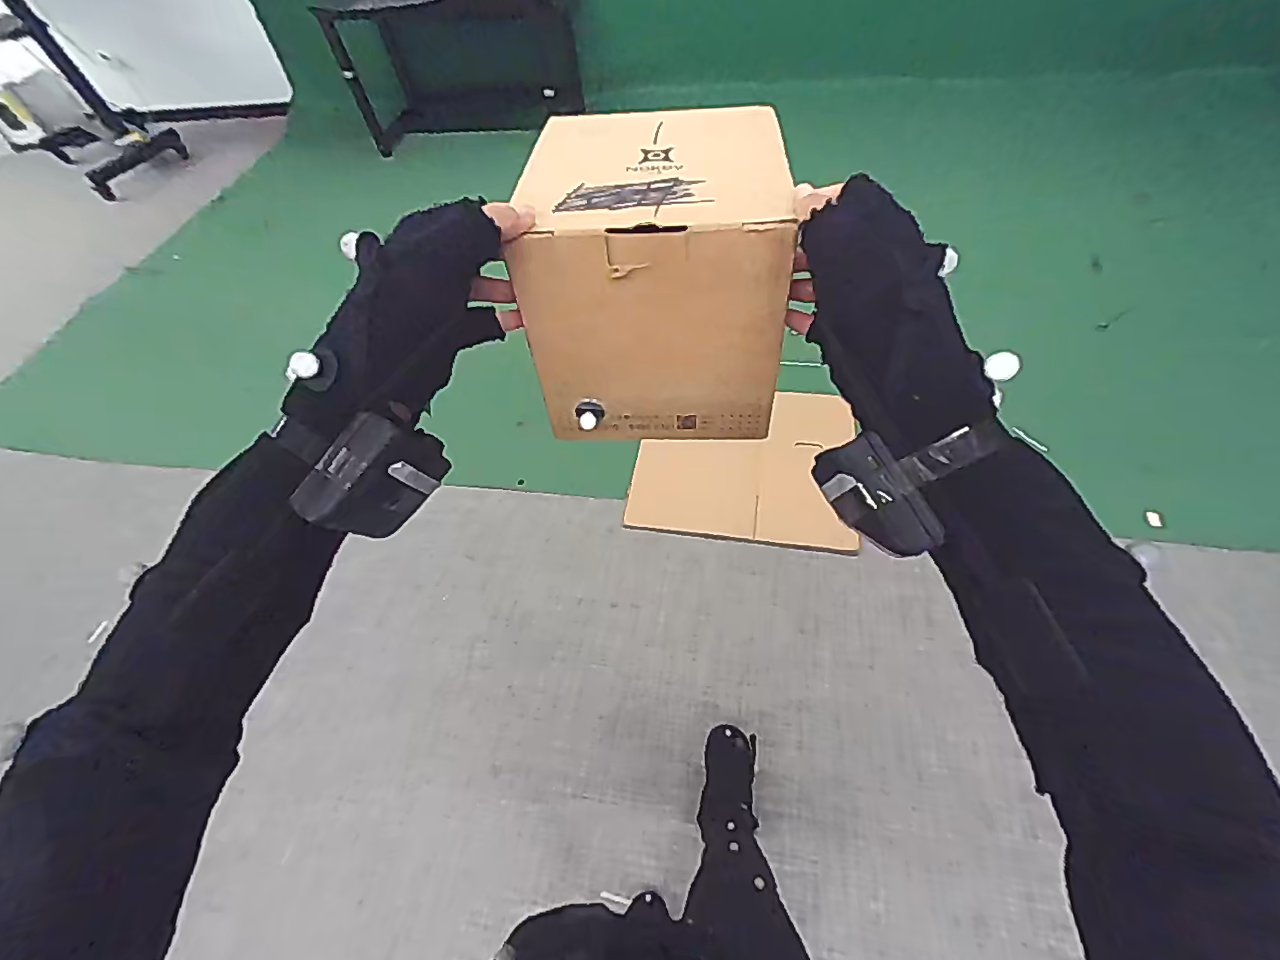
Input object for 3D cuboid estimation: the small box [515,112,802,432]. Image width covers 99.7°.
[{"bbox_3d":[0.021,-0.151,0.413,0.168,0.176,0.179,1,51,5],"label":"small box"}]
